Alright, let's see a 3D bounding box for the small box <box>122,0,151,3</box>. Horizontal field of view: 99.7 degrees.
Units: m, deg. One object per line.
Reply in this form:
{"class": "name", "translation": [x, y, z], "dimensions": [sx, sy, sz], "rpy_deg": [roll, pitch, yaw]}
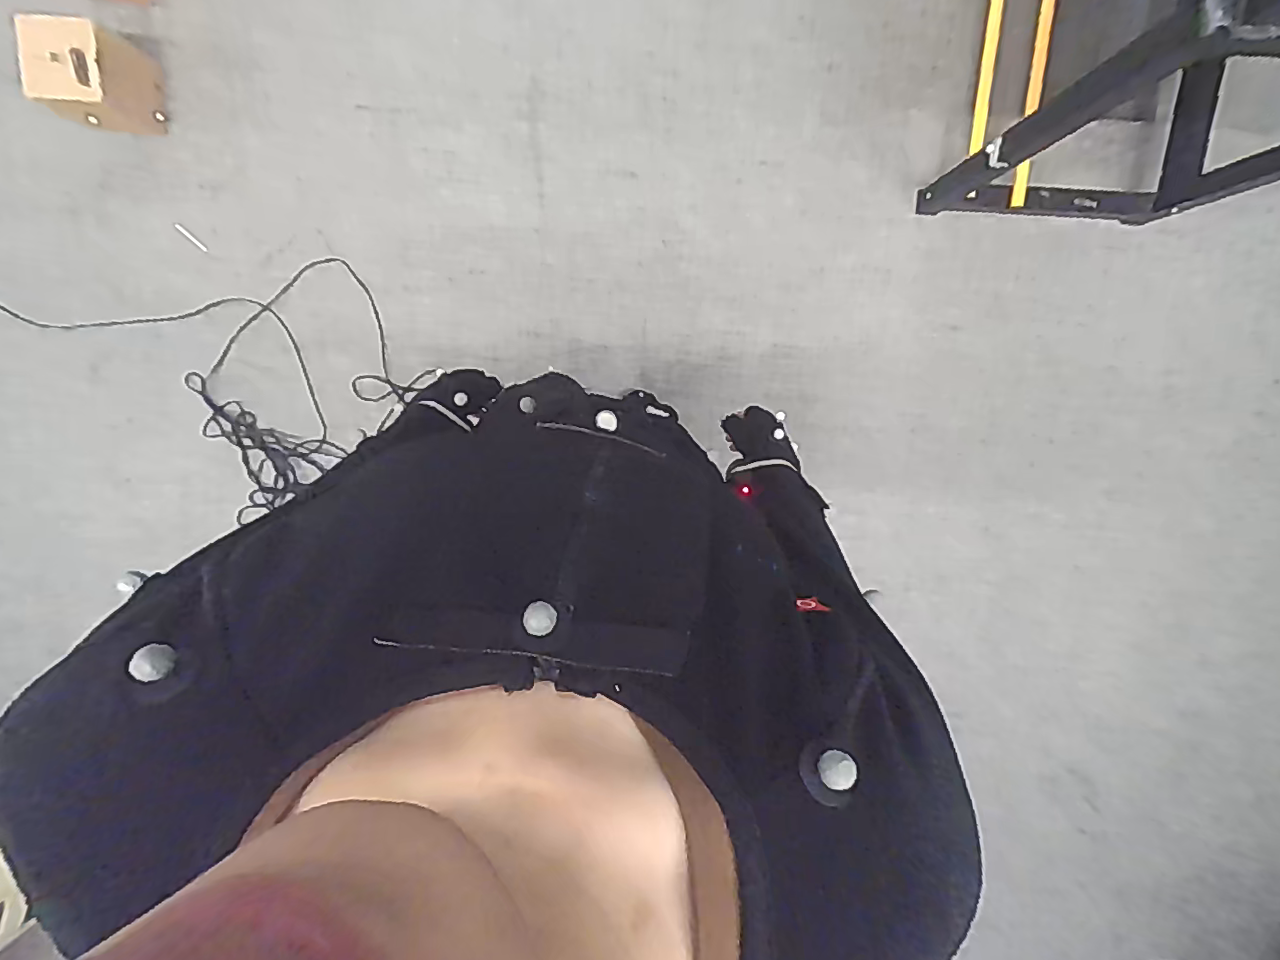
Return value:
{"class": "small box", "translation": [-1.236, -1.213, 1.202], "dimensions": [0.179, 0.176, 0.168], "rpy_deg": [4, 100, -1]}

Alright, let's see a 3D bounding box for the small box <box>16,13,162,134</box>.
{"class": "small box", "translation": [-1.255, -0.927, 1.249], "dimensions": [0.179, 0.176, 0.168], "rpy_deg": [4, 100, 0]}
